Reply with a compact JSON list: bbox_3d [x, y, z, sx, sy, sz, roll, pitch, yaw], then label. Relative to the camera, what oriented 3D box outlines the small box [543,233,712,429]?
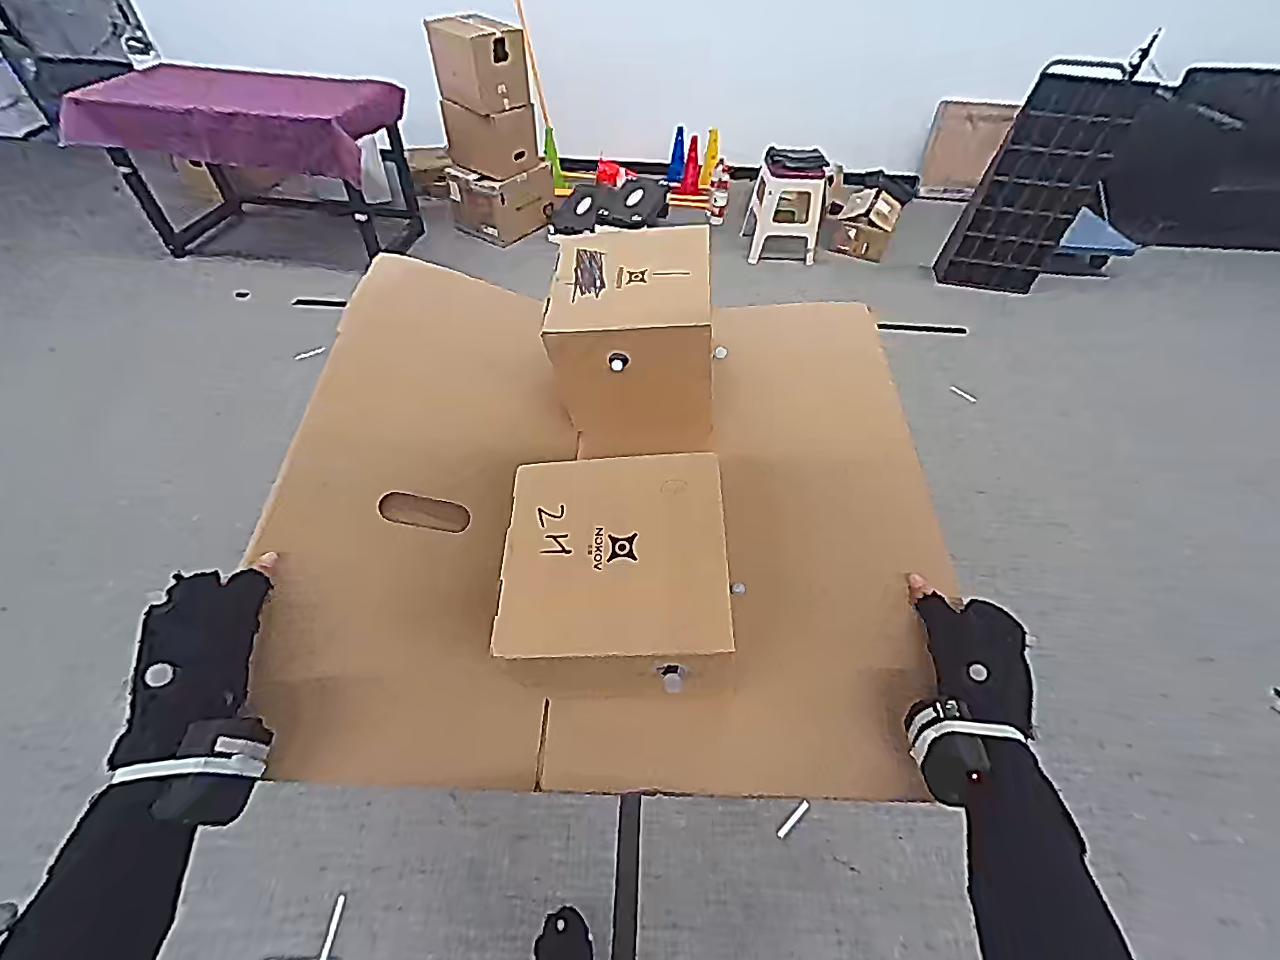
[{"bbox_3d":[-0.002,-0.175,0.665,0.179,0.176,0.168,0,58,8],"label":"small box"}]

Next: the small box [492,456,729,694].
[{"bbox_3d":[-0.011,0.094,0.498,0.179,0.176,0.168,-3,58,8],"label":"small box"}]
